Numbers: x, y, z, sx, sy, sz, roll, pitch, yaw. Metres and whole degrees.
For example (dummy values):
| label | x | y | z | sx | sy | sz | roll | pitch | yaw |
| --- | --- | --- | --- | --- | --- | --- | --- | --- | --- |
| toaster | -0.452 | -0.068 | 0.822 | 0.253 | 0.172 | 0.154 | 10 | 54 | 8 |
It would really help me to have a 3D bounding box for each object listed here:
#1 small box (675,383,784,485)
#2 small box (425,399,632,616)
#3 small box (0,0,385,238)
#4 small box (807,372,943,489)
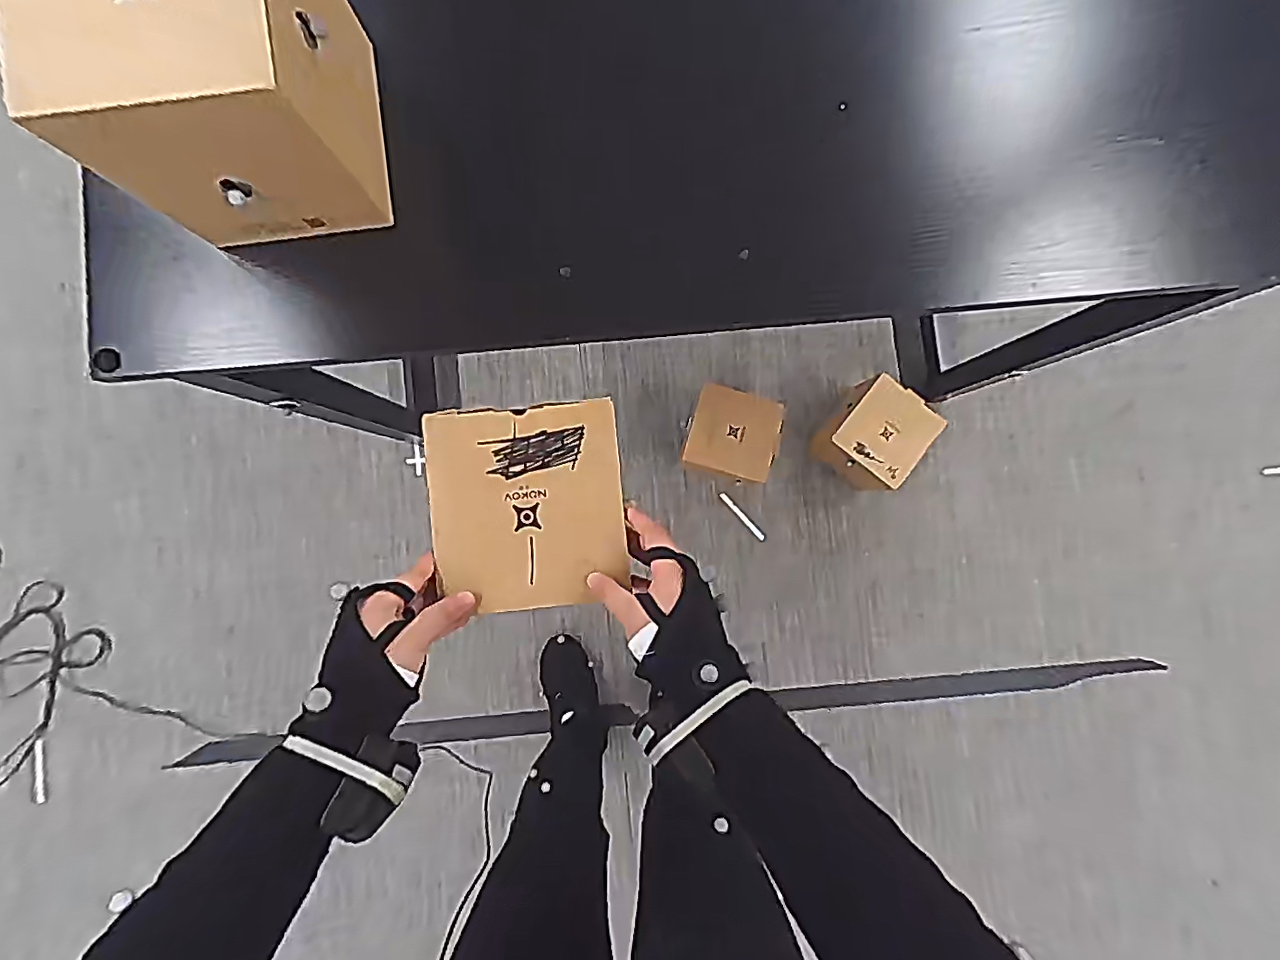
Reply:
| label | x | y | z | sx | sy | sz | roll | pitch | yaw |
| --- | --- | --- | --- | --- | --- | --- | --- | --- | --- |
| small box | 0.181 | -0.089 | 1.147 | 0.179 | 0.176 | 0.168 | 15 | 87 | 1 |
| small box | -0.101 | 0.026 | 0.544 | 0.168 | 0.176 | 0.179 | -6 | 89 | -3 |
| small box | -0.318 | -0.308 | 0.418 | 0.168 | 0.176 | 0.179 | -8 | 87 | -2 |
| small box | 0.485 | -0.096 | 1.148 | 0.168 | 0.176 | 0.179 | 38 | 88 | 1 |
